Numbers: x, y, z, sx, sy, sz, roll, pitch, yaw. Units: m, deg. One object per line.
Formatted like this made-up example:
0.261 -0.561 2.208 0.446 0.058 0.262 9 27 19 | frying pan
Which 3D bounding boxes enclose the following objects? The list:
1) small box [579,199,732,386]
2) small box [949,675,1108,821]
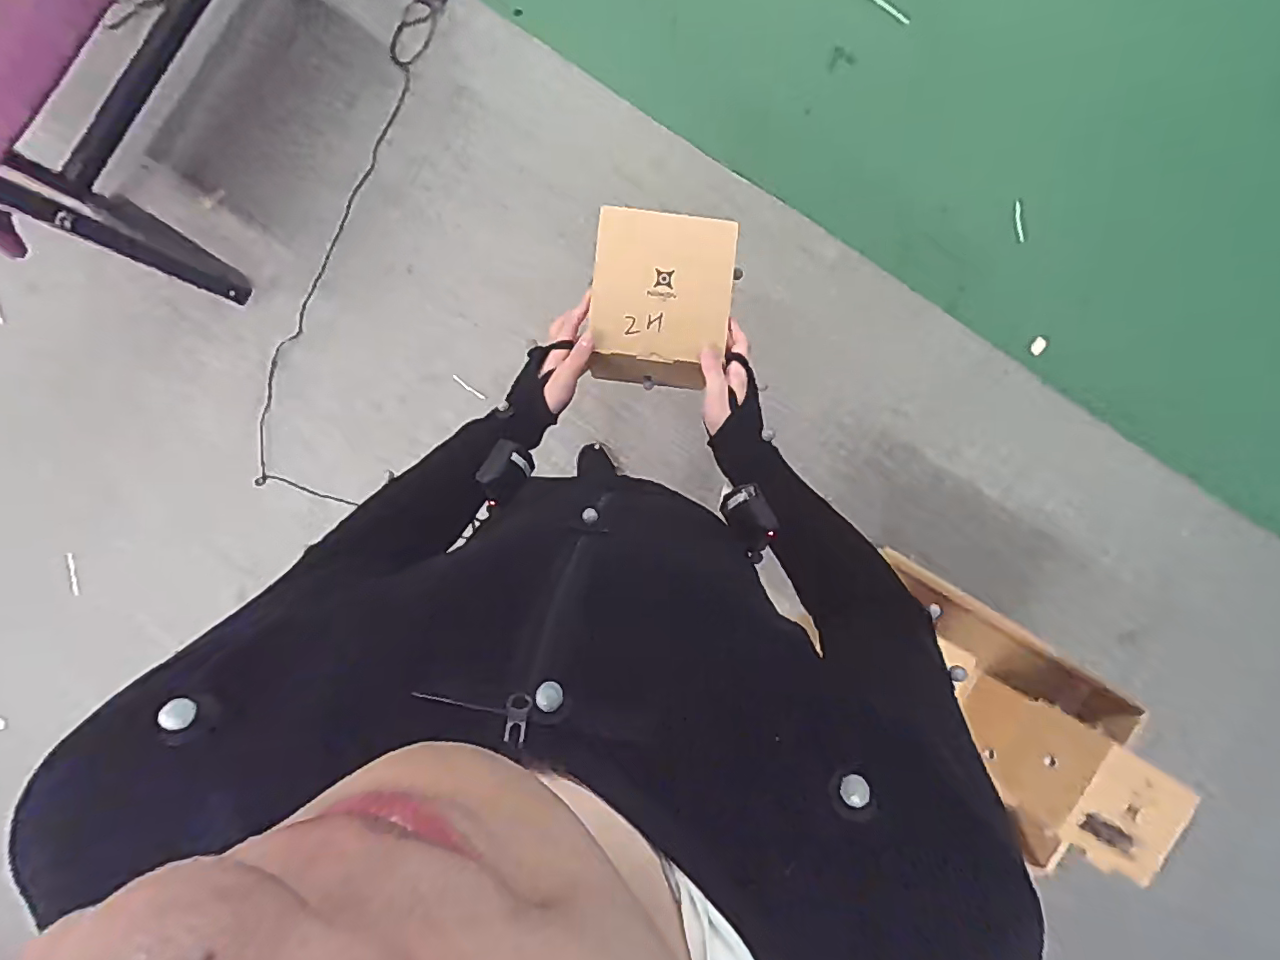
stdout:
0.015 -0.231 0.707 0.168 0.176 0.179 6 90 -2 | small box
0.778 0.533 1.105 0.168 0.176 0.179 28 92 1 | small box
